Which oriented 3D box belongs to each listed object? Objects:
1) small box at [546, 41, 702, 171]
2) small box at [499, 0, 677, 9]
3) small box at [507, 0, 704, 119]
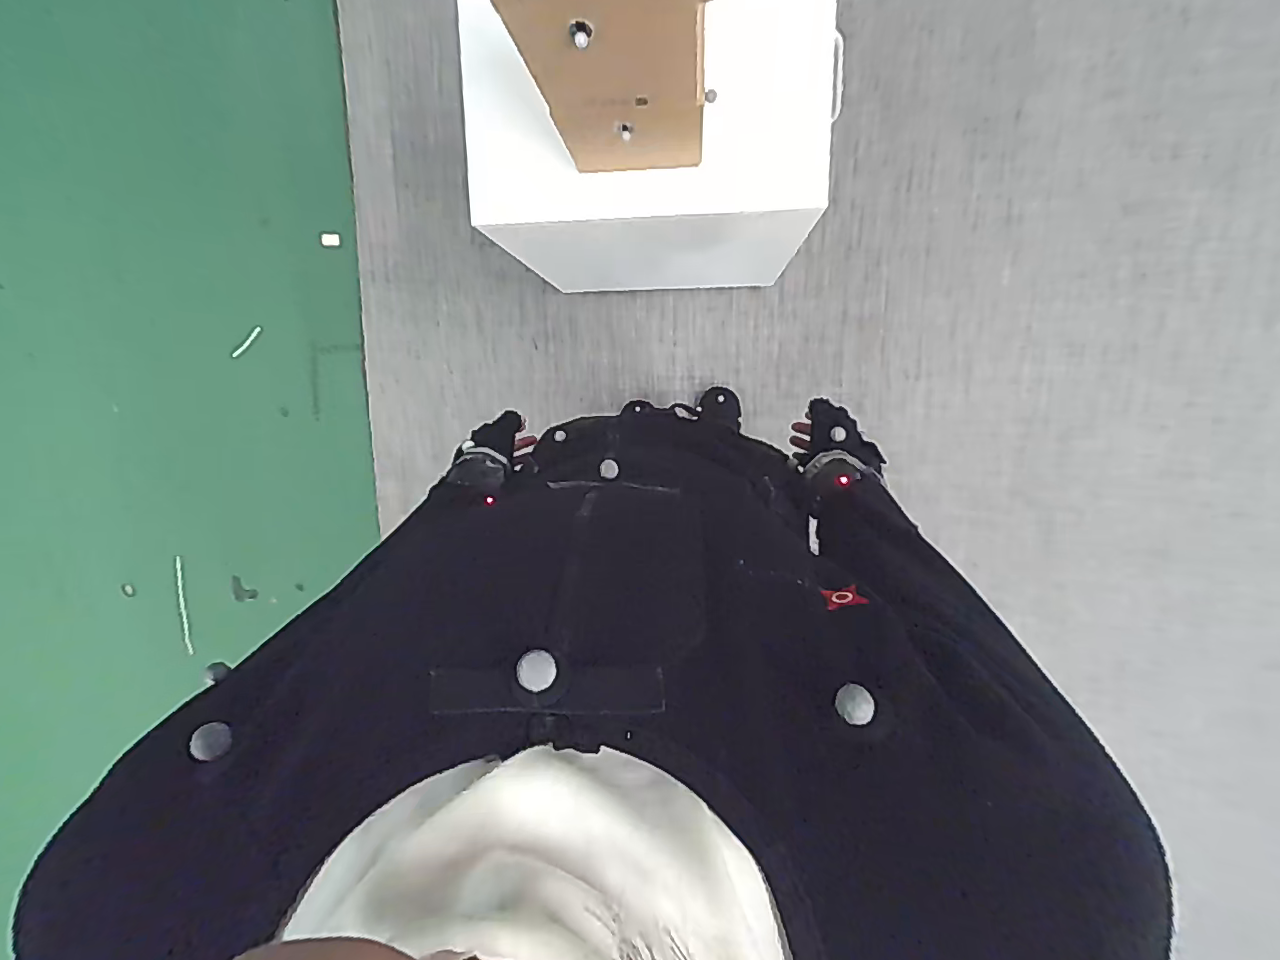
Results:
[{"bbox_3d":[-0.012,-0.503,0.671,0.179,0.176,0.168,0,100,5],"label":"small box"},{"bbox_3d":[-0.041,-0.450,0.349,0.179,0.176,0.168,2,100,6],"label":"small box"},{"bbox_3d":[-0.026,-0.481,0.512,0.168,0.176,0.179,-1,100,5],"label":"small box"}]
